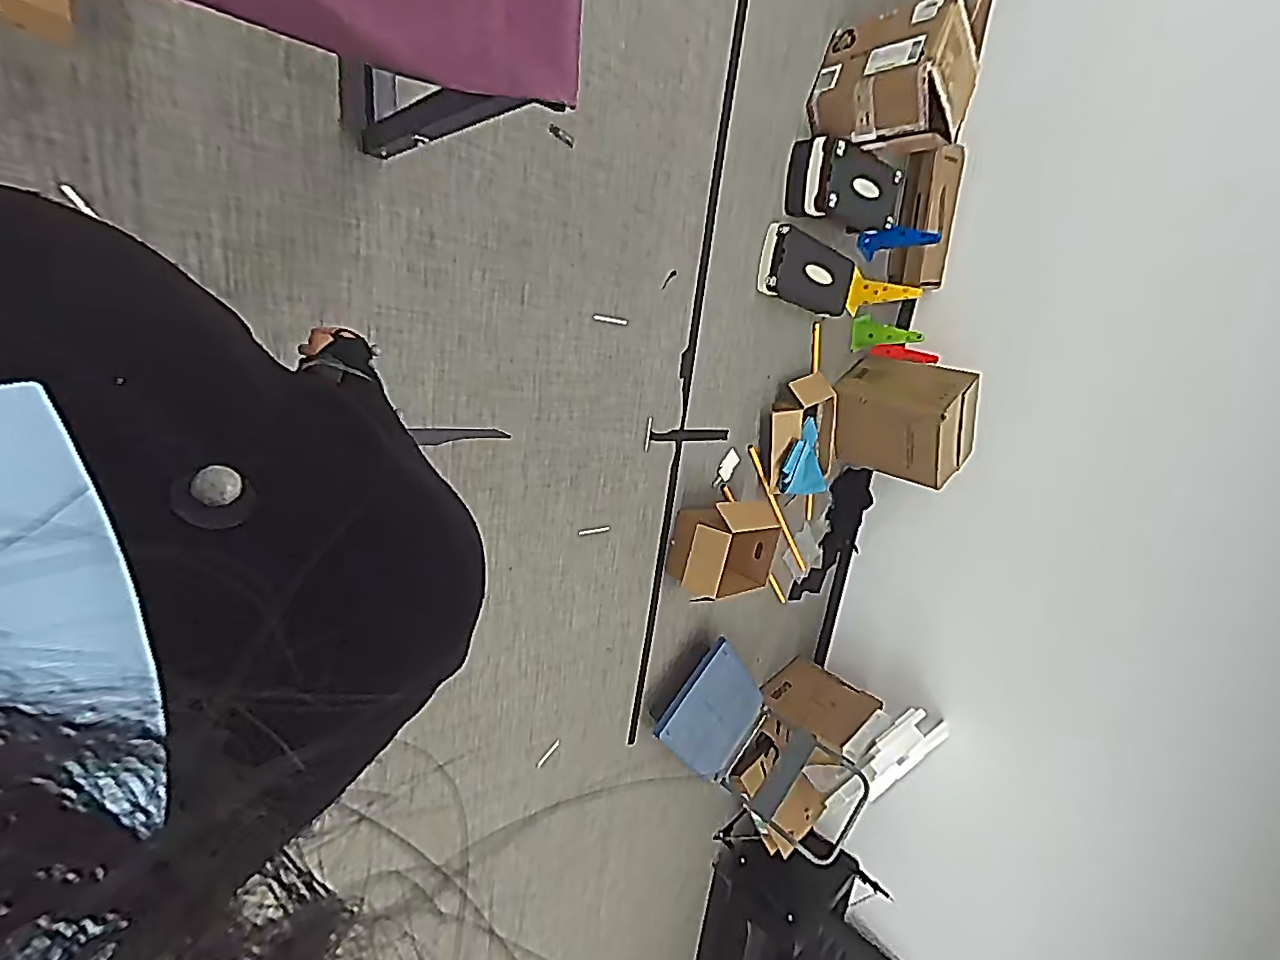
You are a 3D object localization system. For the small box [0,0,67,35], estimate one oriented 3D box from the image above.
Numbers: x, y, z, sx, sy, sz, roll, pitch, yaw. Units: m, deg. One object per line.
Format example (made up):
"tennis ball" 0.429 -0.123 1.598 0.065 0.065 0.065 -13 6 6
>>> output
"small box" -0.978 -0.812 0.802 0.168 0.176 0.179 -6 109 -45
